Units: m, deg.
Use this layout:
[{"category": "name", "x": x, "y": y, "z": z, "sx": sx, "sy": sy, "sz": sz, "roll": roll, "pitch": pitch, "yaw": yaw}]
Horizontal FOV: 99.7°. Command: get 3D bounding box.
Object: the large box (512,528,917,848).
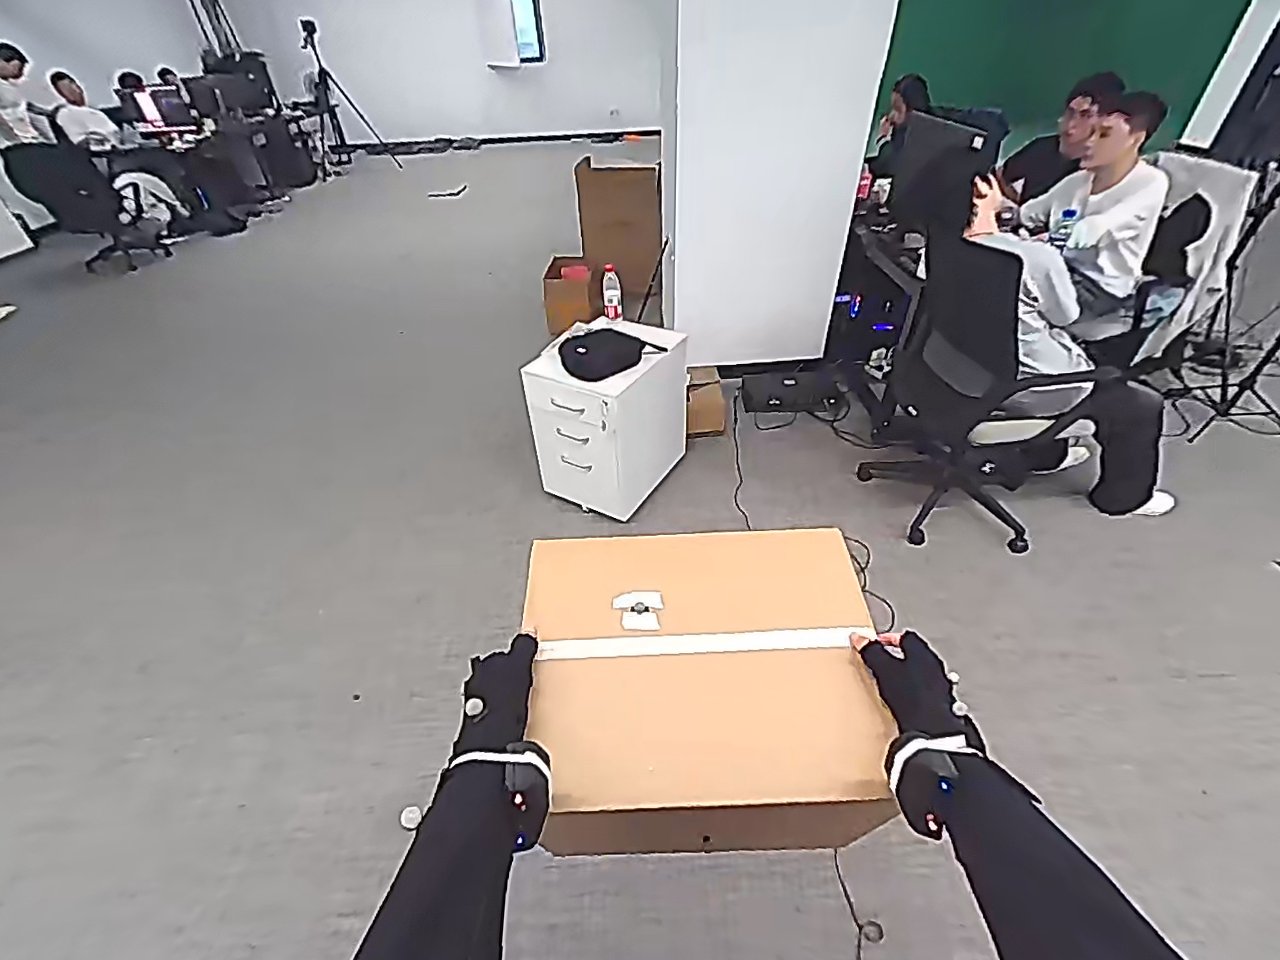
[{"category": "large box", "x": 0.075, "y": 0.288, "z": 0.732, "sx": 0.408, "sy": 0.320, "sz": 0.320, "roll": -3, "pitch": 48, "yaw": 1}]
